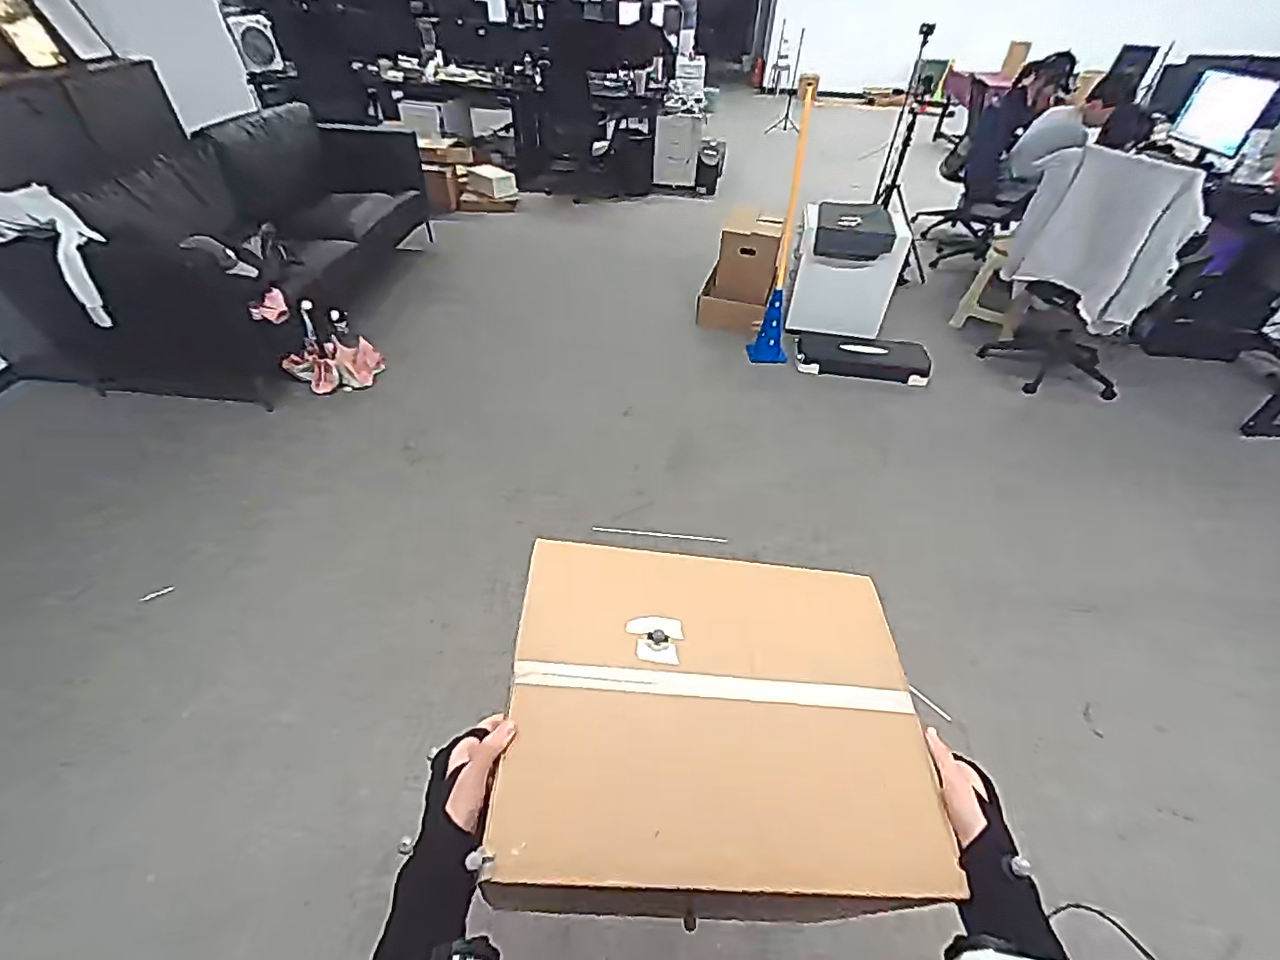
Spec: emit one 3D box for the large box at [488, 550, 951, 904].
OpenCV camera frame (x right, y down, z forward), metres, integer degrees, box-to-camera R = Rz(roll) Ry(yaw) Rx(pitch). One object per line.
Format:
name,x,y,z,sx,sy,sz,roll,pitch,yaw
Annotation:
large box,0.055,0.310,0.651,0.408,0.320,0.320,6,47,-6
